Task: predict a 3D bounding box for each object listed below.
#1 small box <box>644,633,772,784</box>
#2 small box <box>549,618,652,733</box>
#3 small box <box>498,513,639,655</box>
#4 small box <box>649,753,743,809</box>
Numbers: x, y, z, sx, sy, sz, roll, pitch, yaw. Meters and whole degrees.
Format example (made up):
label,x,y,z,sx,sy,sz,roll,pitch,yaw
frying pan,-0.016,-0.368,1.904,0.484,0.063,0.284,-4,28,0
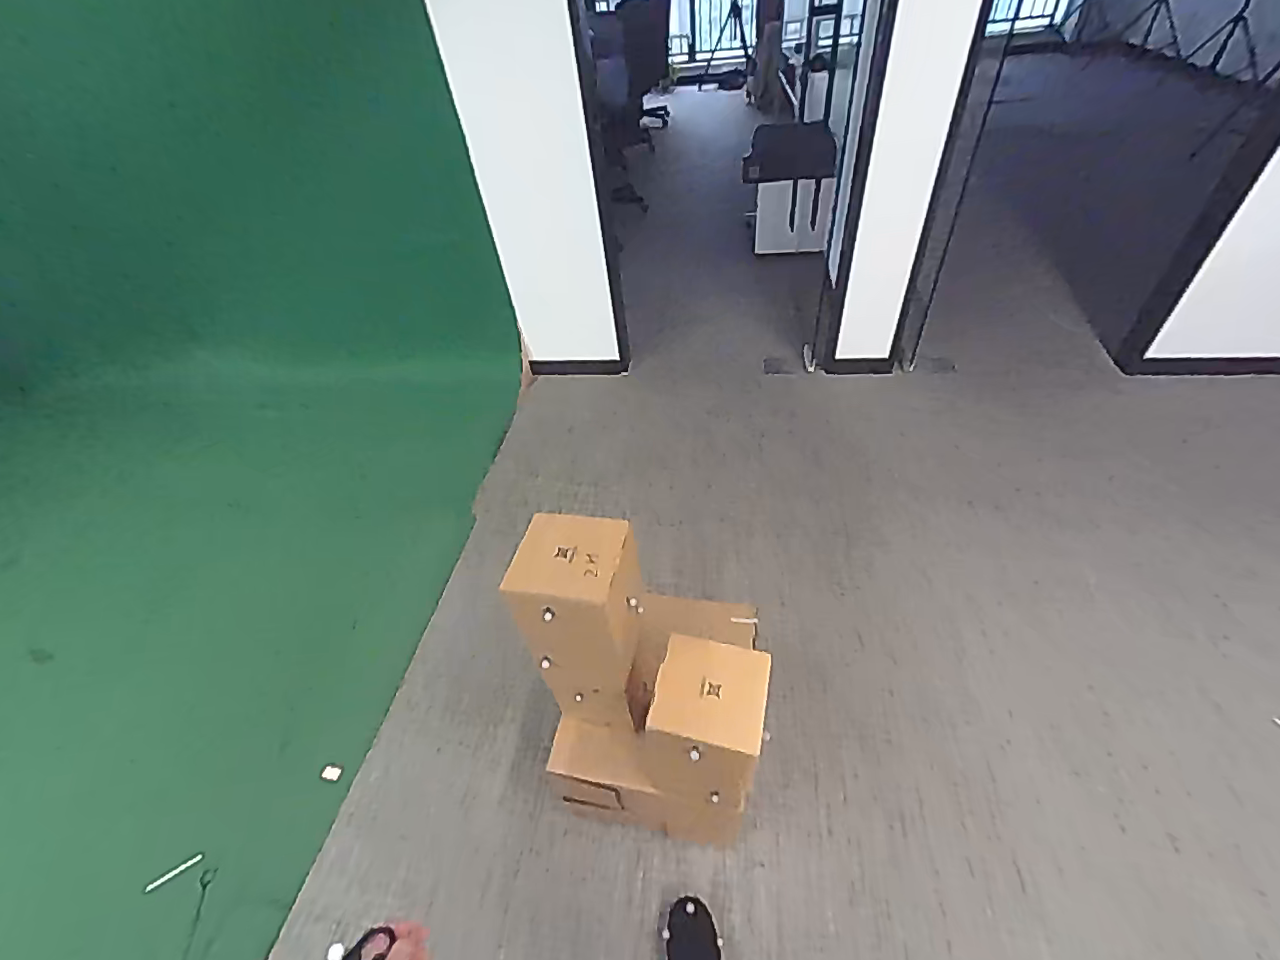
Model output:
label,x,y,z,sx,sy,sz,roll,pitch,yaw
small box,0.117,0.388,0.912,0.179,0.176,0.168,8,46,14
small box,-0.074,0.405,1.155,0.168,0.176,0.179,6,44,15
small box,-0.109,0.177,0.918,0.179,0.176,0.168,5,45,14
small box,0.122,0.497,1.033,0.168,0.176,0.179,8,45,14
